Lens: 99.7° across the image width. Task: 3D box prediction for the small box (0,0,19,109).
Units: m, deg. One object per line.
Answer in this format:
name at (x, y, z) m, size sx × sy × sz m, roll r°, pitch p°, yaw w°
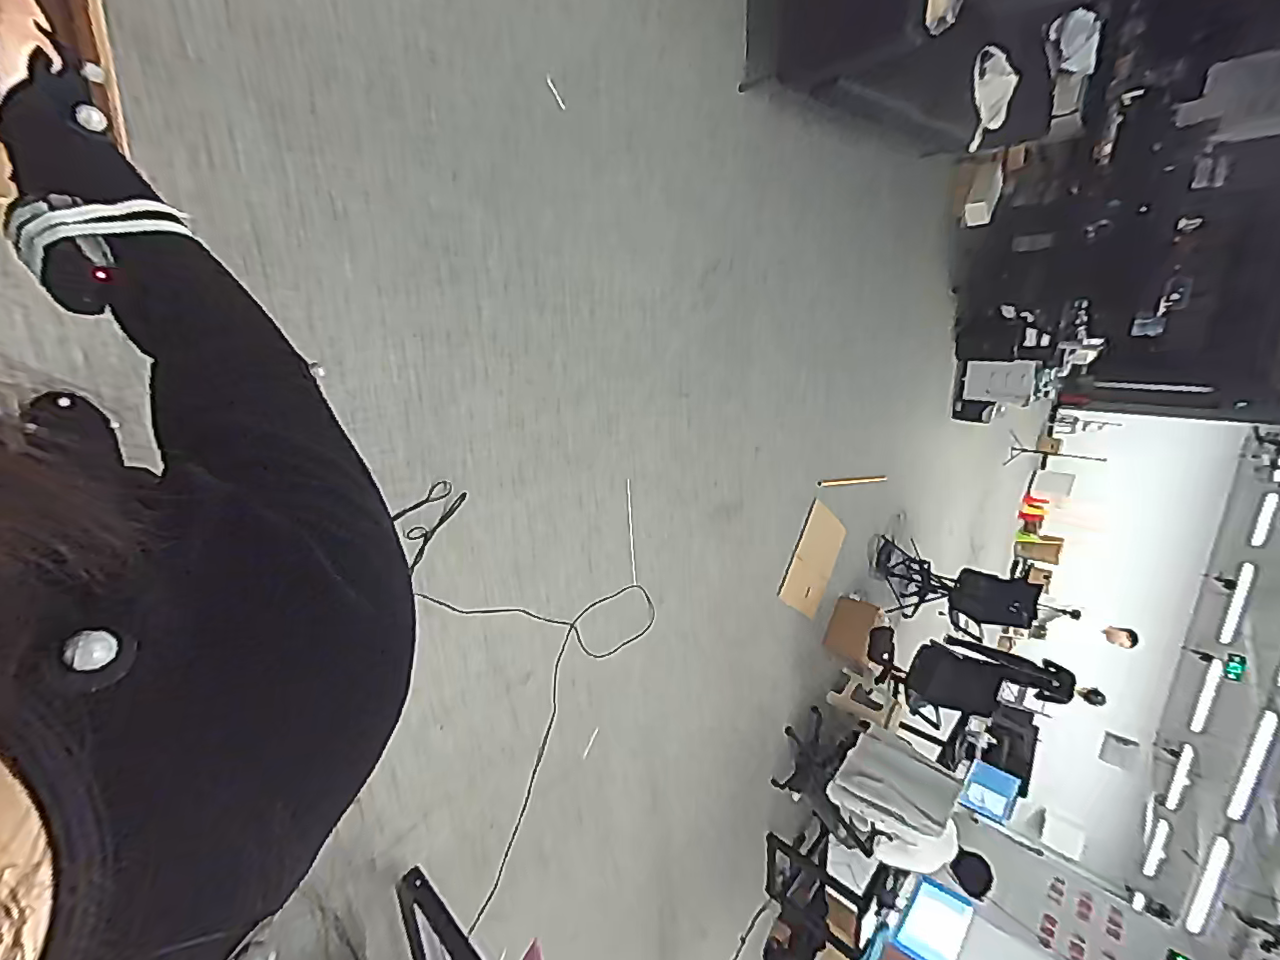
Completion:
small box at (-0.615, -0.424, 0.410) m, size 0.168 × 0.176 × 0.179 m, roll -10°, pitch 109°, yaw -43°
